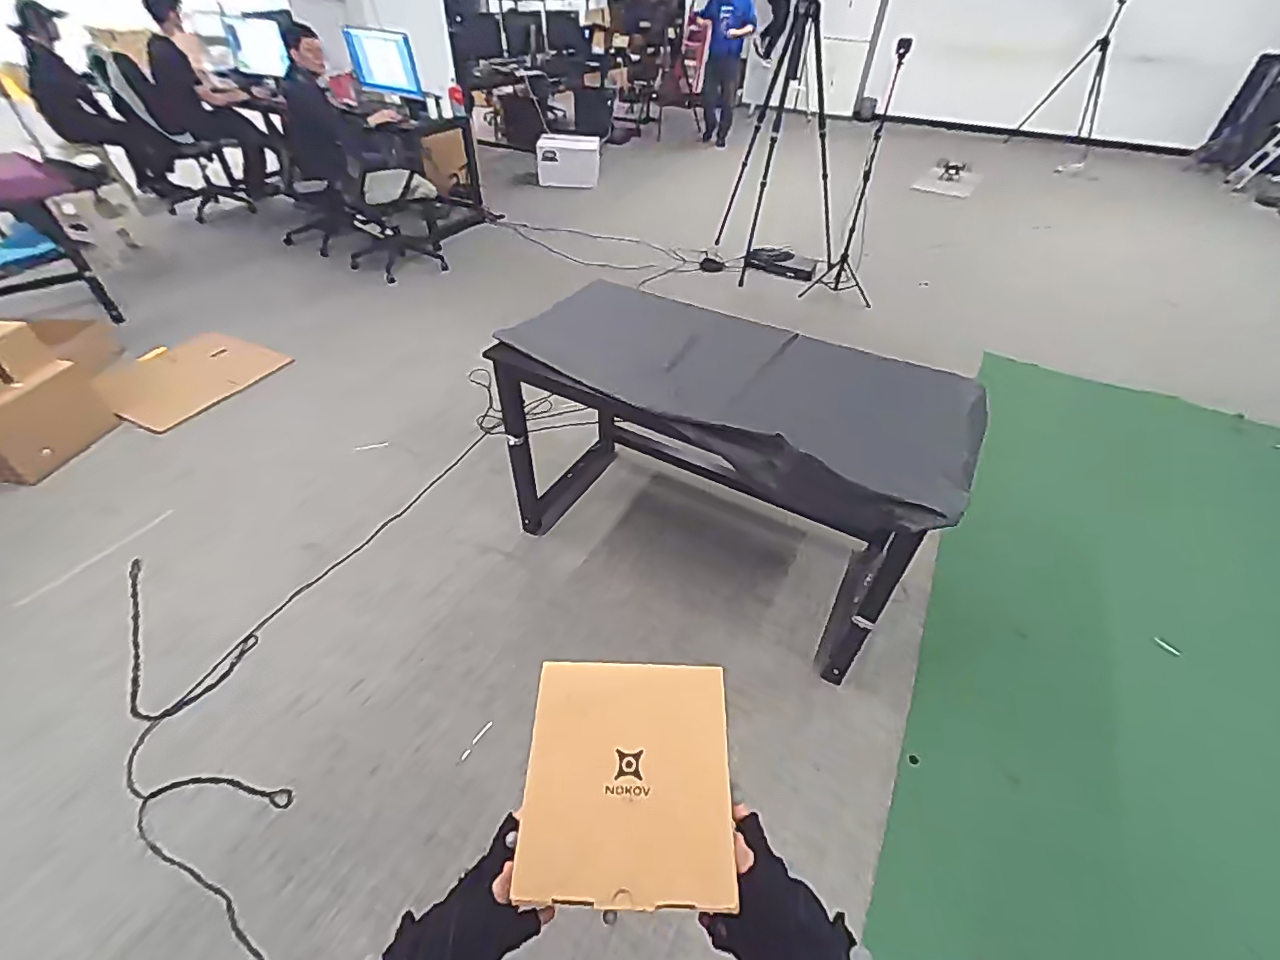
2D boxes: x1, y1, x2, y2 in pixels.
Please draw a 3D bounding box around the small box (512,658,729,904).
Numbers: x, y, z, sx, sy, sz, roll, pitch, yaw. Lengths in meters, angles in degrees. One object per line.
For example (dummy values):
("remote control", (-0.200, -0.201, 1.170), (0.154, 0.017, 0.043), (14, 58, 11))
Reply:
("small box", (-0.014, 0.285, 0.512), (0.168, 0.176, 0.179), (2, 54, 0))
